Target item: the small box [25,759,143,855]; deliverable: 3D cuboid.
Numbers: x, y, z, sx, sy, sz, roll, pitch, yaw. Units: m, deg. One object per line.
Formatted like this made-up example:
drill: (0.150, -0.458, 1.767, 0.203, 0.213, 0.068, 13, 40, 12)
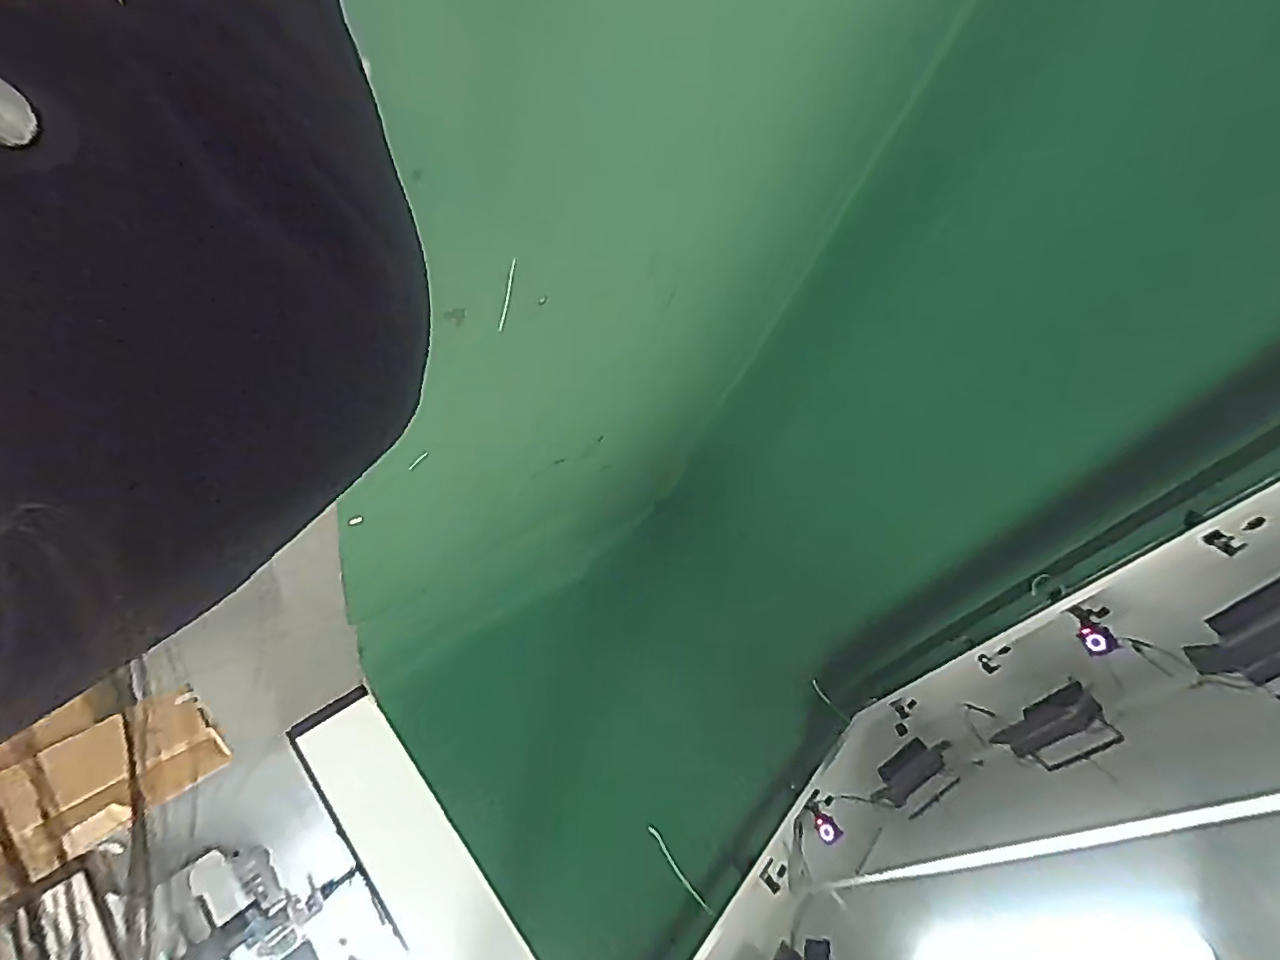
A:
small box: (-1.619, 0.951, 1.579, 0.168, 0.176, 0.179, -33, 159, -35)
